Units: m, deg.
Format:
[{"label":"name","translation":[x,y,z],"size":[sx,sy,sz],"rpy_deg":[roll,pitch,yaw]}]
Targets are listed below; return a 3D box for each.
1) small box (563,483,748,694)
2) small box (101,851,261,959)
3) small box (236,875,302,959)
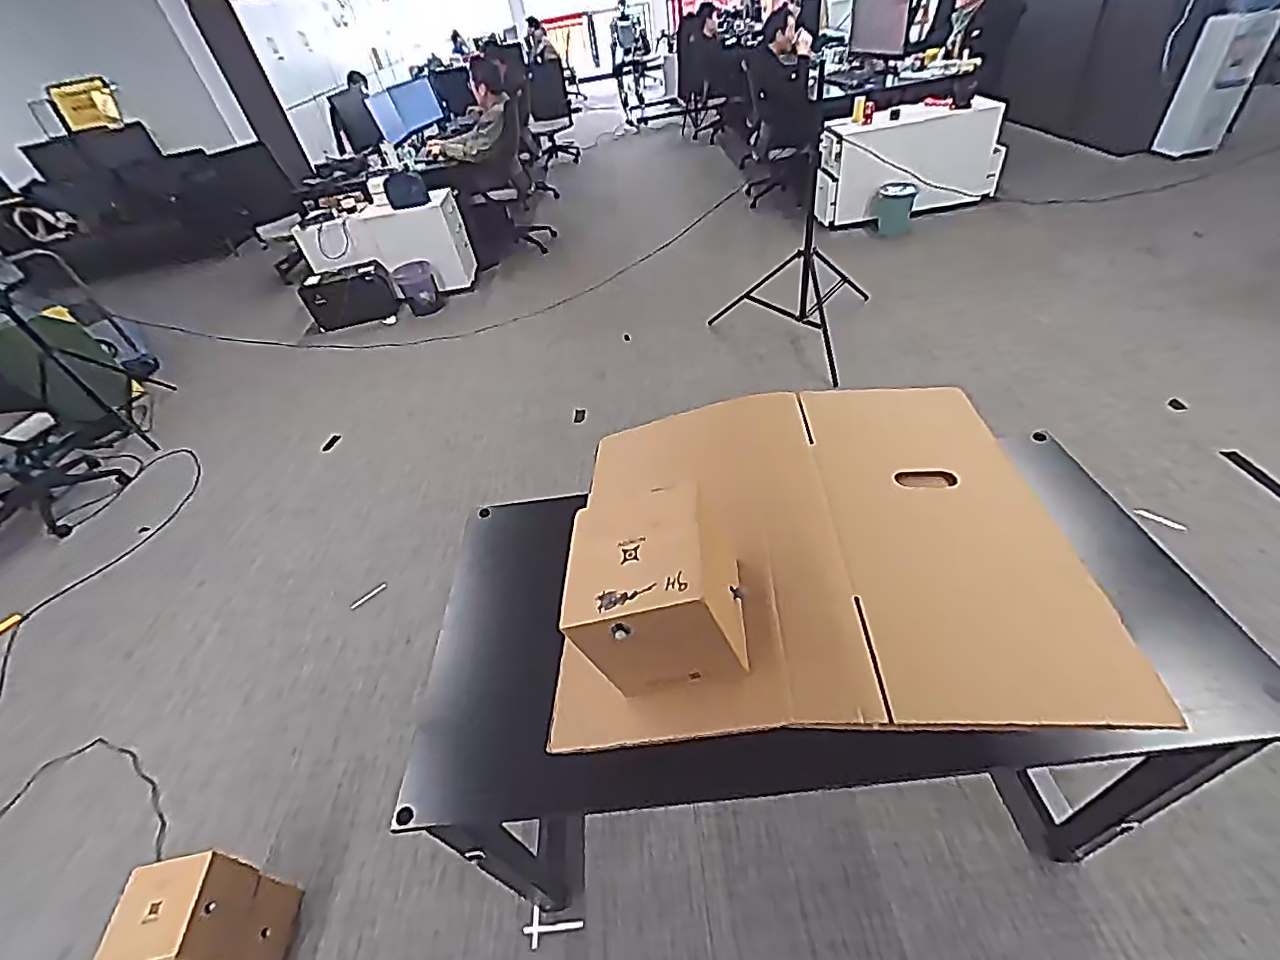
[{"label":"small box","translation":[0.027,0.136,0.669],"size":[0.168,0.176,0.179],"rpy_deg":[-17,39,18]},{"label":"small box","translation":[-0.929,0.903,1.113],"size":[0.168,0.176,0.179],"rpy_deg":[-12,41,-2]},{"label":"small box","translation":[-0.904,1.025,1.217],"size":[0.168,0.176,0.179],"rpy_deg":[-11,43,1]}]
